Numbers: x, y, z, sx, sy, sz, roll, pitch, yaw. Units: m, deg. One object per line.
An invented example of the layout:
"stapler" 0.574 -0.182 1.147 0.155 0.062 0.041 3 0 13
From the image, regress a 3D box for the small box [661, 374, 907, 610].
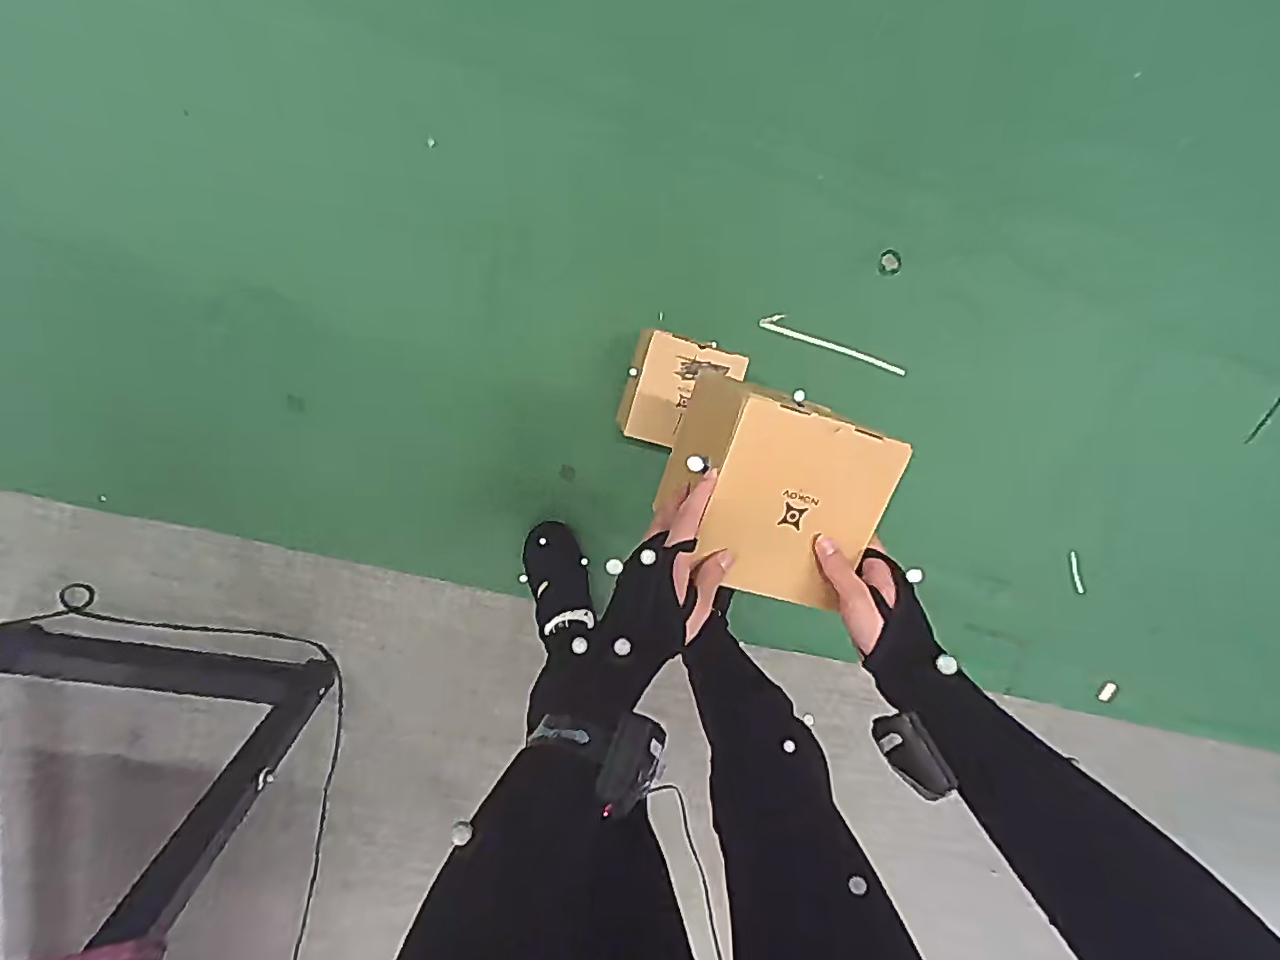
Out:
"small box" 0.128 0.003 0.563 0.168 0.176 0.179 15 105 -12

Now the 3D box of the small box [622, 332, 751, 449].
"small box" 0.070 -0.152 0.948 0.168 0.176 0.179 14 104 -10
